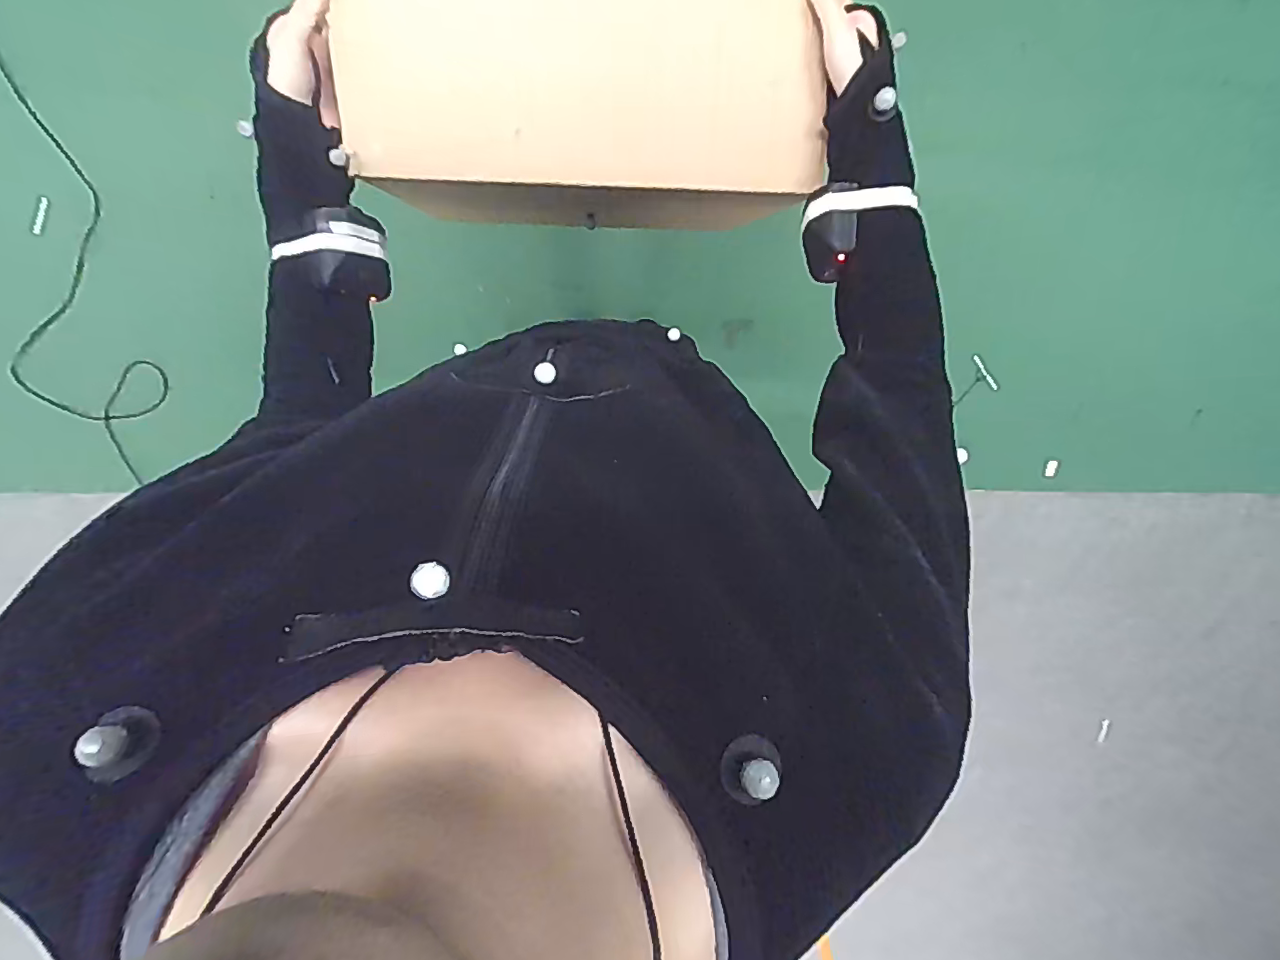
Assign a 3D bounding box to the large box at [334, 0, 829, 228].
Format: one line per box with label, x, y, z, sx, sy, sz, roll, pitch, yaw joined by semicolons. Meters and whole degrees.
large box;-0.053;-0.448;0.567;0.408;0.320;0.320;-1;108;-6
